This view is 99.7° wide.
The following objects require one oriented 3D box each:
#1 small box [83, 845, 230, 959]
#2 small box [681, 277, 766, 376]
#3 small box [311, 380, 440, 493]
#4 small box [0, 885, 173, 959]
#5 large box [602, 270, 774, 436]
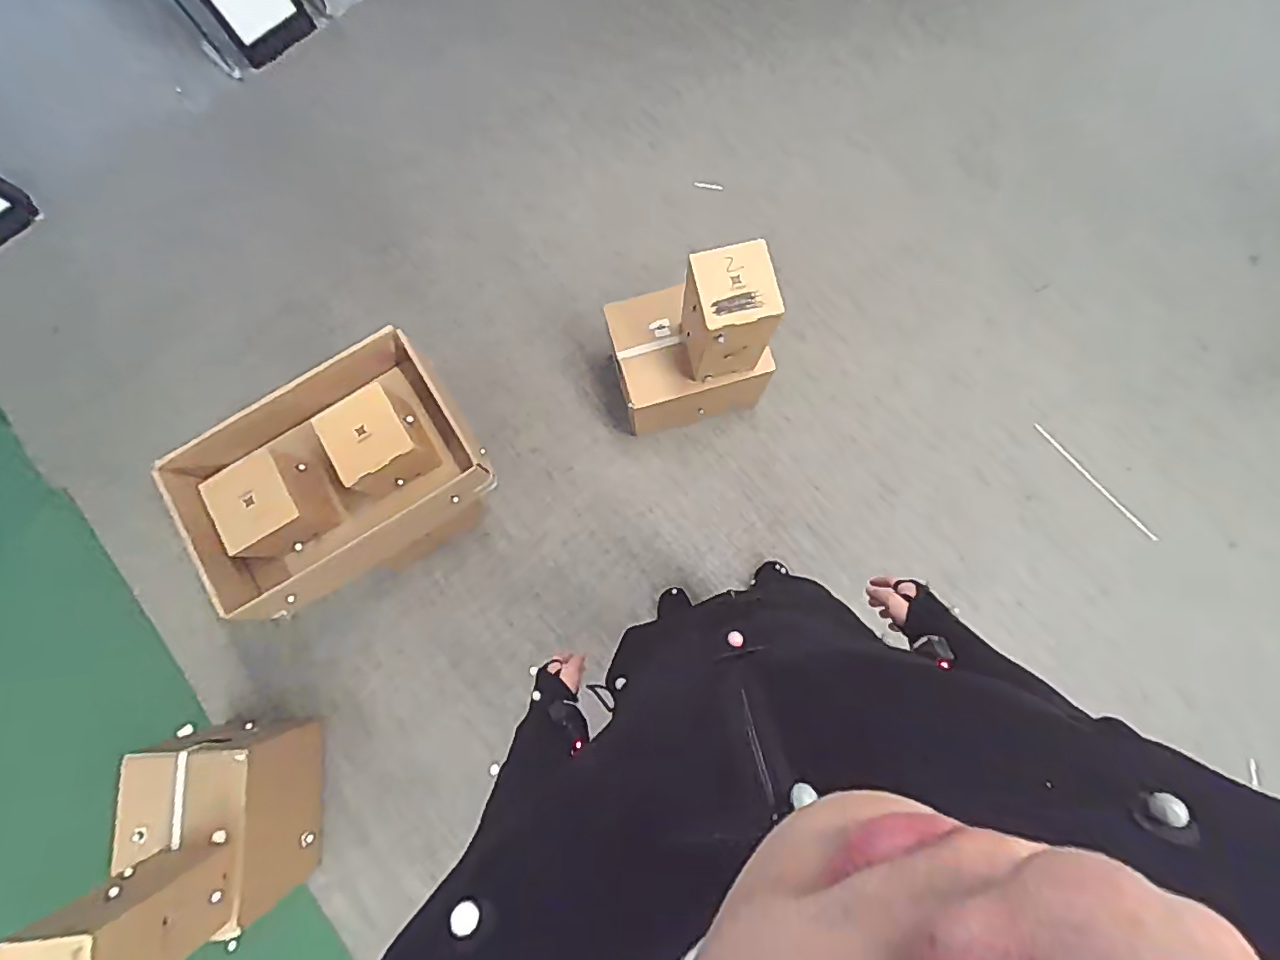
[{"bbox_3d":[-1.025,0.909,1.148,0.179,0.176,0.168,-4,80,-1],"label":"small box"},{"bbox_3d":[0.203,-0.375,1.359,0.168,0.176,0.179,-12,81,-1],"label":"small box"},{"bbox_3d":[-0.586,-0.090,1.217,0.168,0.176,0.179,-31,82,-4],"label":"small box"},{"bbox_3d":[-1.017,0.878,0.987,0.179,0.176,0.168,-5,79,0],"label":"small box"},{"bbox_3d":[0.133,-0.358,1.608,0.408,0.320,0.320,-16,79,-1],"label":"large box"}]
